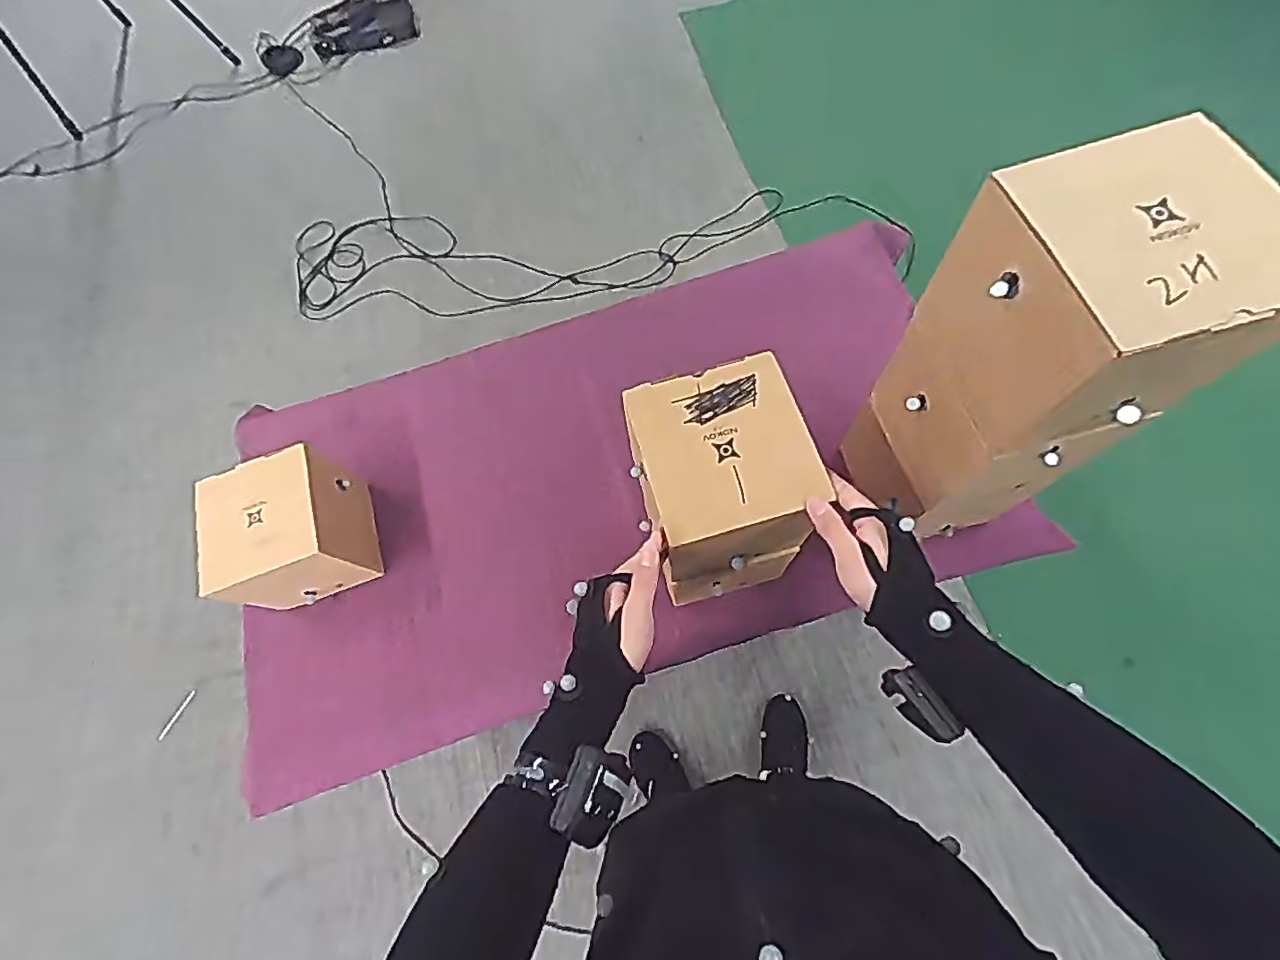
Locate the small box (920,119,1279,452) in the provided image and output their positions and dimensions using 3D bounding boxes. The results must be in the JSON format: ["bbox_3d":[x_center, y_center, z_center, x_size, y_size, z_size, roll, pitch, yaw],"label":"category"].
[{"bbox_3d":[0.370,-0.148,0.453,0.168,0.176,0.179,-15,68,1],"label":"small box"}]

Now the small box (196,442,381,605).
[{"bbox_3d":[-0.521,0.073,0.817,0.168,0.176,0.179,-20,69,-2],"label":"small box"}]

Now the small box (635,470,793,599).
[{"bbox_3d":[0.099,0.060,0.759,0.168,0.176,0.179,-16,67,0],"label":"small box"}]

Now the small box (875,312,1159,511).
[{"bbox_3d":[0.390,-0.086,0.604,0.168,0.176,0.179,-15,67,2],"label":"small box"}]

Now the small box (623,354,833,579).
[{"bbox_3d":[0.085,-0.006,0.604,0.168,0.176,0.179,-16,69,-2],"label":"small box"}]
